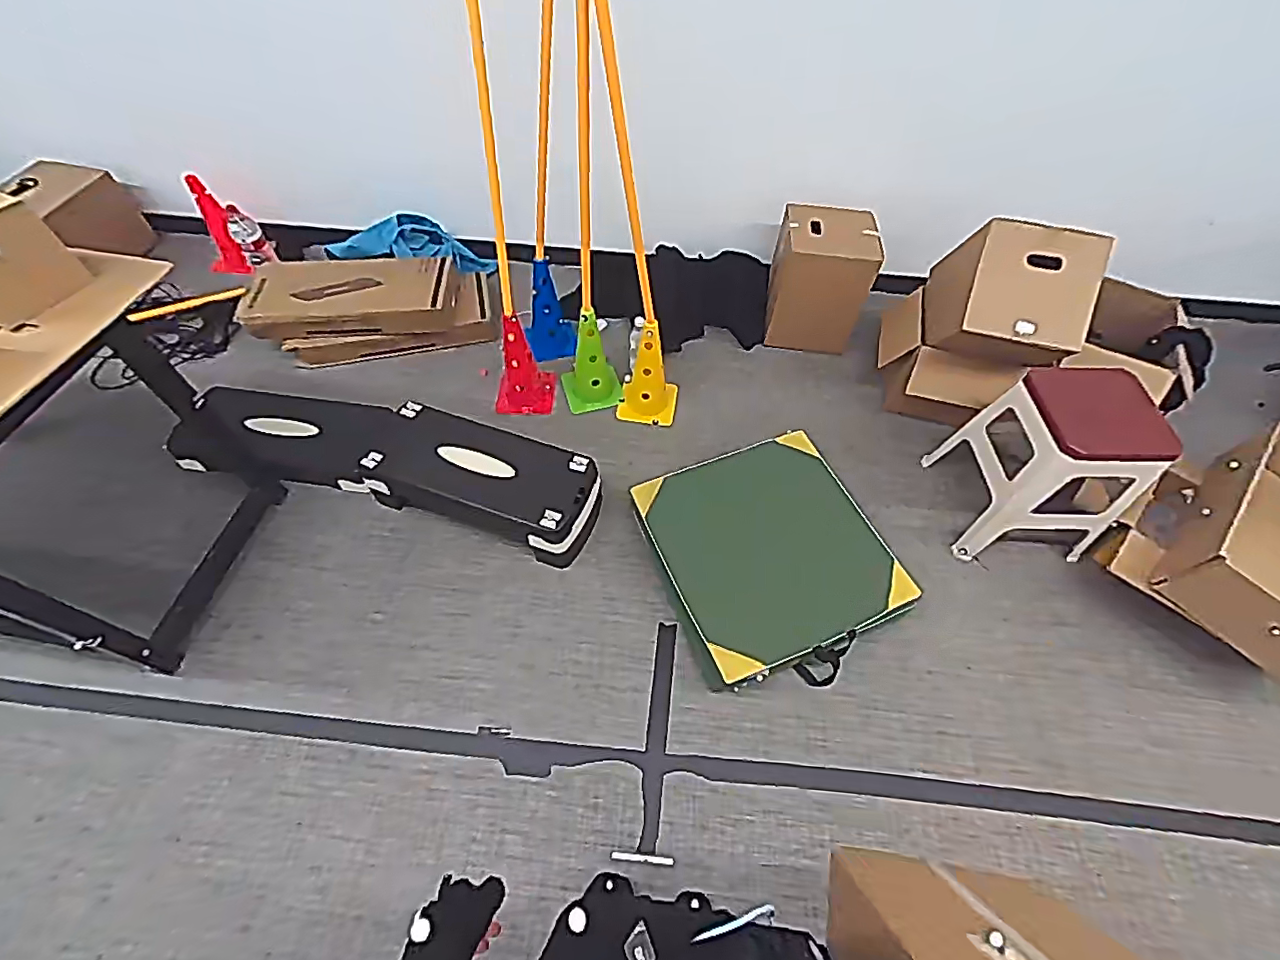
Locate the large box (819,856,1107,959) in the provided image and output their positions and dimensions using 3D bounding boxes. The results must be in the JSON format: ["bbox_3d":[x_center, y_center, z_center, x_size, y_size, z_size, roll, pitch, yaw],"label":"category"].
[{"bbox_3d":[0.417,0.721,0.632,0.320,0.408,0.320,7,75,5],"label":"large box"}]
